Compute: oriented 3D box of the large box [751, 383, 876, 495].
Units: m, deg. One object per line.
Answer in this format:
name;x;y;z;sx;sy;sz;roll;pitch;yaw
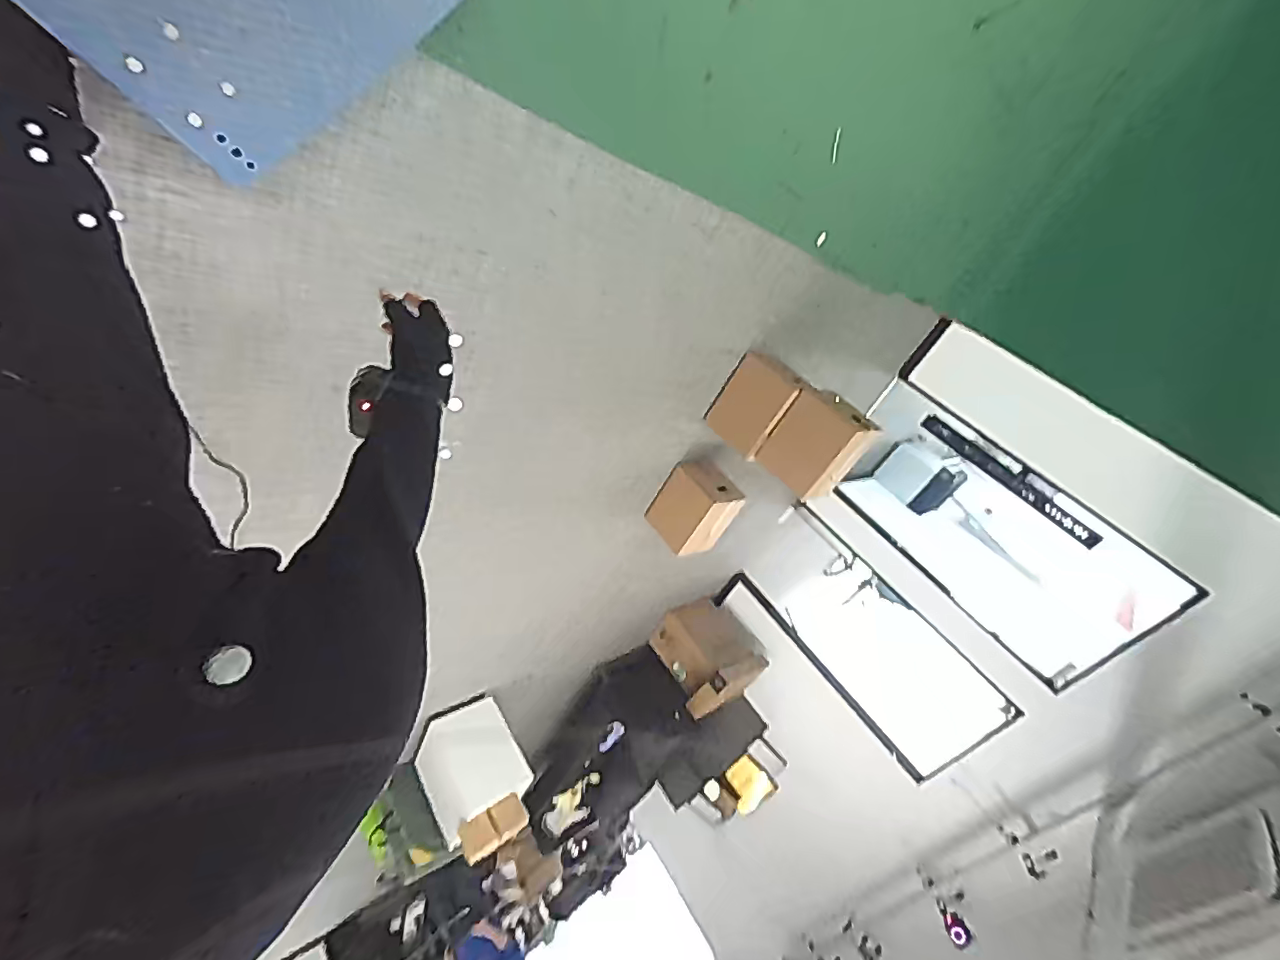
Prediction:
large box;0.793;-0.196;2.493;0.320;0.320;0.408;-9;139;-49
